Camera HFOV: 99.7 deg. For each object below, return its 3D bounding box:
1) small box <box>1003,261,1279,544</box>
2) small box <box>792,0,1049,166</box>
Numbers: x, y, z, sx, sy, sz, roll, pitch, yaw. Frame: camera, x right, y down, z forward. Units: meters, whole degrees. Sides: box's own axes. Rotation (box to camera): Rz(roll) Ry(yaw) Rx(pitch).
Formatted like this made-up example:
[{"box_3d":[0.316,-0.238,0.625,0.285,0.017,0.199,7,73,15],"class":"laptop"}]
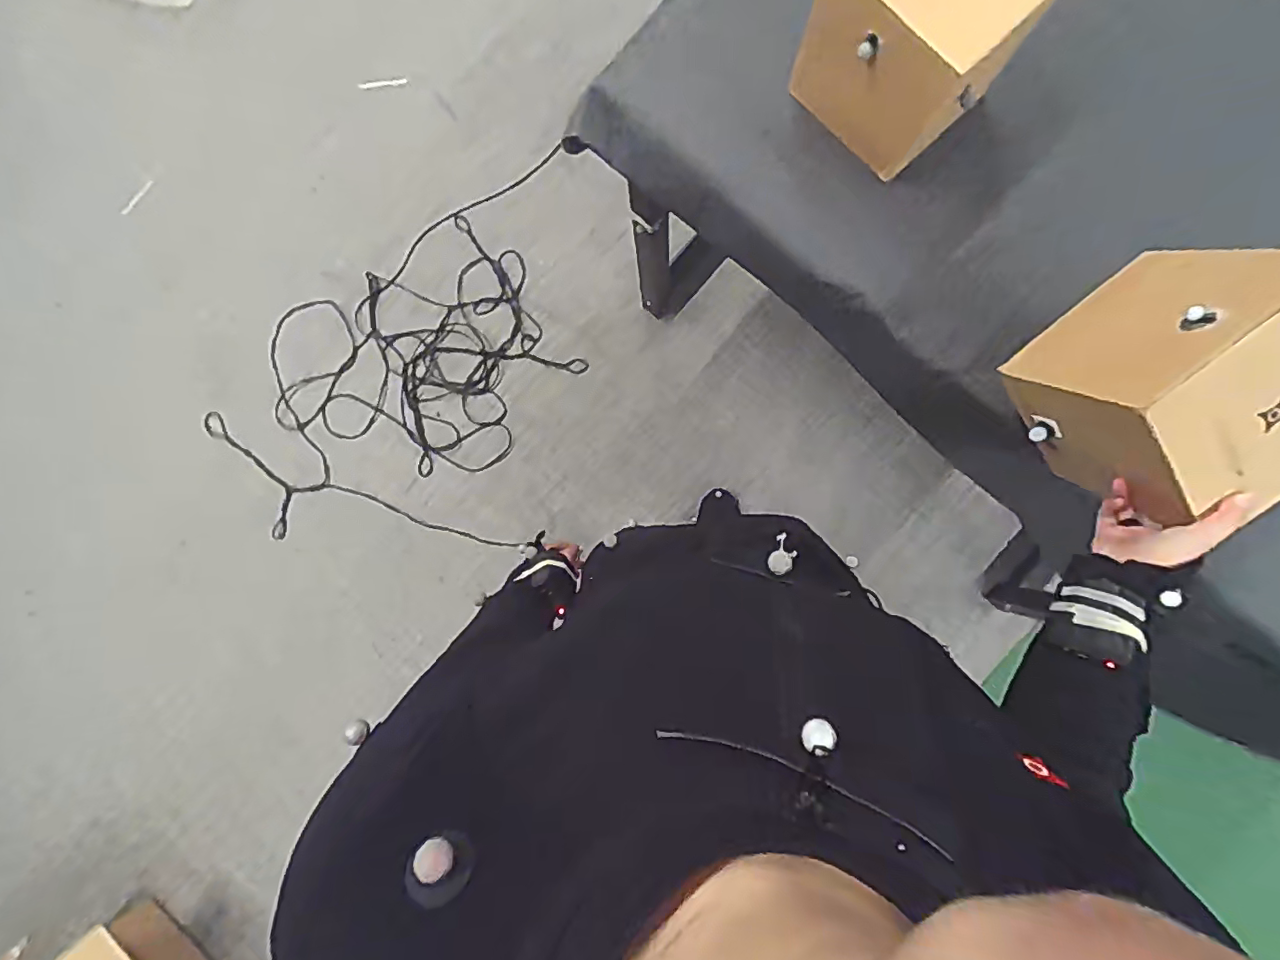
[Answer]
[{"box_3d":[0.493,-0.082,0.496,0.179,0.176,0.168,-41,110,11],"class":"small box"},{"box_3d":[0.297,-0.486,0.589,0.168,0.176,0.179,-43,85,-1],"class":"small box"}]
